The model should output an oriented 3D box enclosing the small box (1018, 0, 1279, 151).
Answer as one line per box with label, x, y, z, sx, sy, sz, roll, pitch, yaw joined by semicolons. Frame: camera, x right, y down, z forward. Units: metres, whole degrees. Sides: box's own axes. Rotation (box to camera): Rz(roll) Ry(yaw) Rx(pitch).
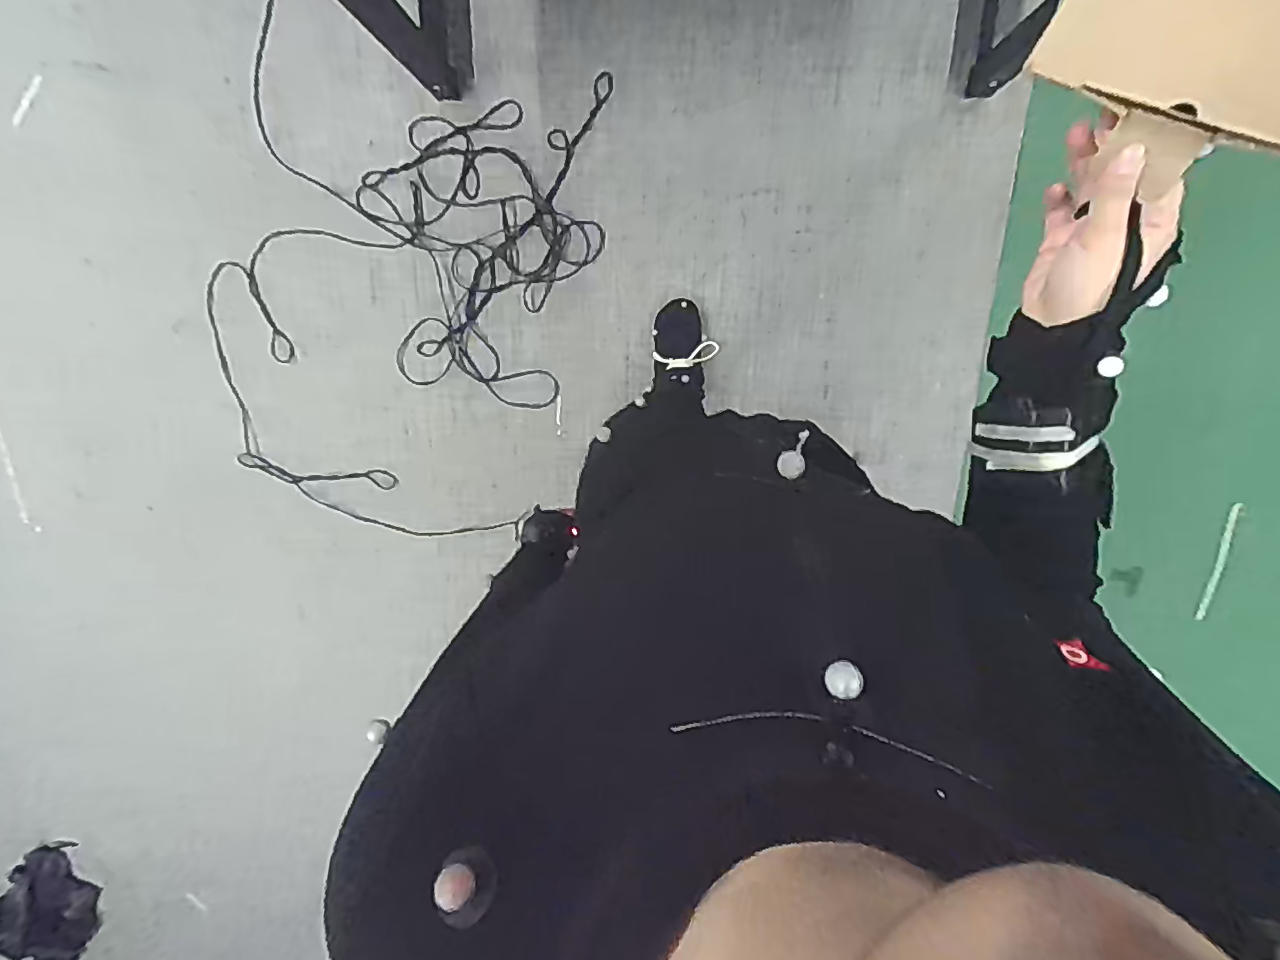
small box;0.341;-0.299;0.284;0.168;0.176;0.179;30;134;13
